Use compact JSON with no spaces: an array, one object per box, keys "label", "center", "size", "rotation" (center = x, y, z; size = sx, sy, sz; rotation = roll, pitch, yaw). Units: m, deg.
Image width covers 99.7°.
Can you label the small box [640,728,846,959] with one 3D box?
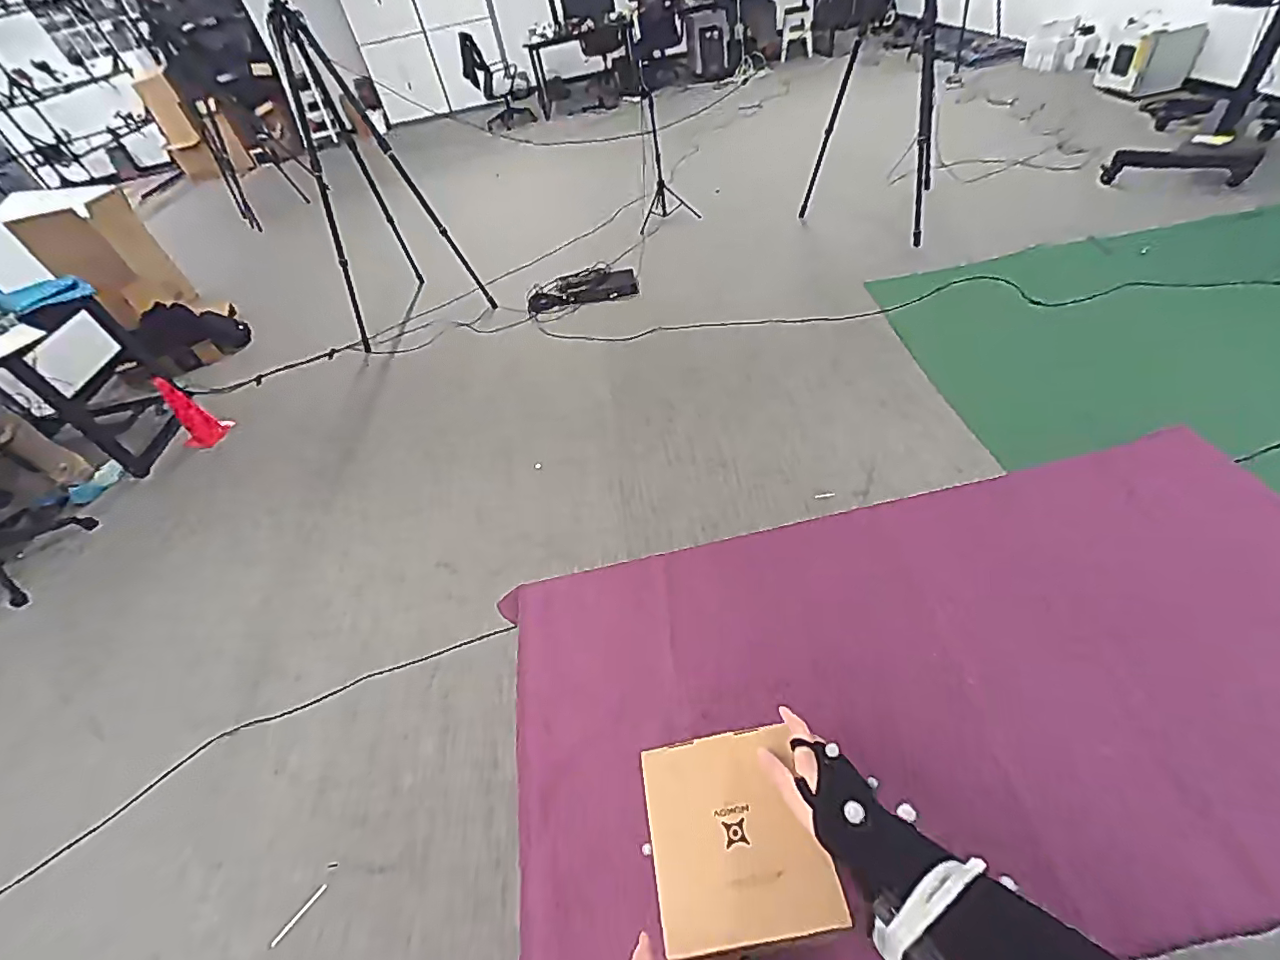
[{"label":"small box","center":[0.101,0.398,0.580],"size":[0.168,0.176,0.179],"rotation":[-13,45,2]}]
